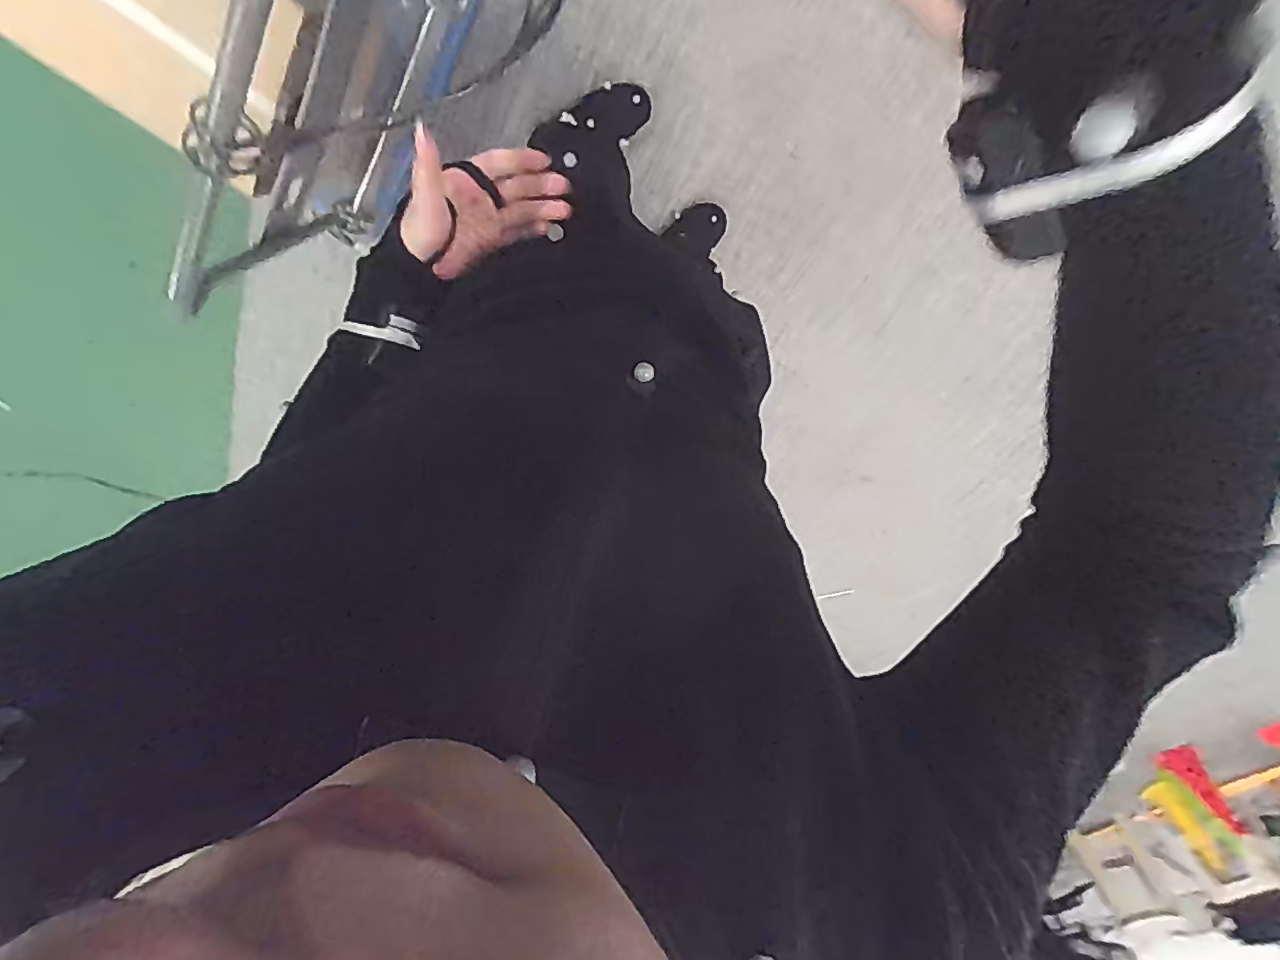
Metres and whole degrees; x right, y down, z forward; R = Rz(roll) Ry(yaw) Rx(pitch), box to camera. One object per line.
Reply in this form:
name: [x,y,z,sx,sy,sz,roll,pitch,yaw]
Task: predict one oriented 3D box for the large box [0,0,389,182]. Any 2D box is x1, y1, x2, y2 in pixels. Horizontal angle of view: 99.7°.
large box: [-0.722,-0.791,0.915,0.408,0.320,0.320,33,120,-19]
